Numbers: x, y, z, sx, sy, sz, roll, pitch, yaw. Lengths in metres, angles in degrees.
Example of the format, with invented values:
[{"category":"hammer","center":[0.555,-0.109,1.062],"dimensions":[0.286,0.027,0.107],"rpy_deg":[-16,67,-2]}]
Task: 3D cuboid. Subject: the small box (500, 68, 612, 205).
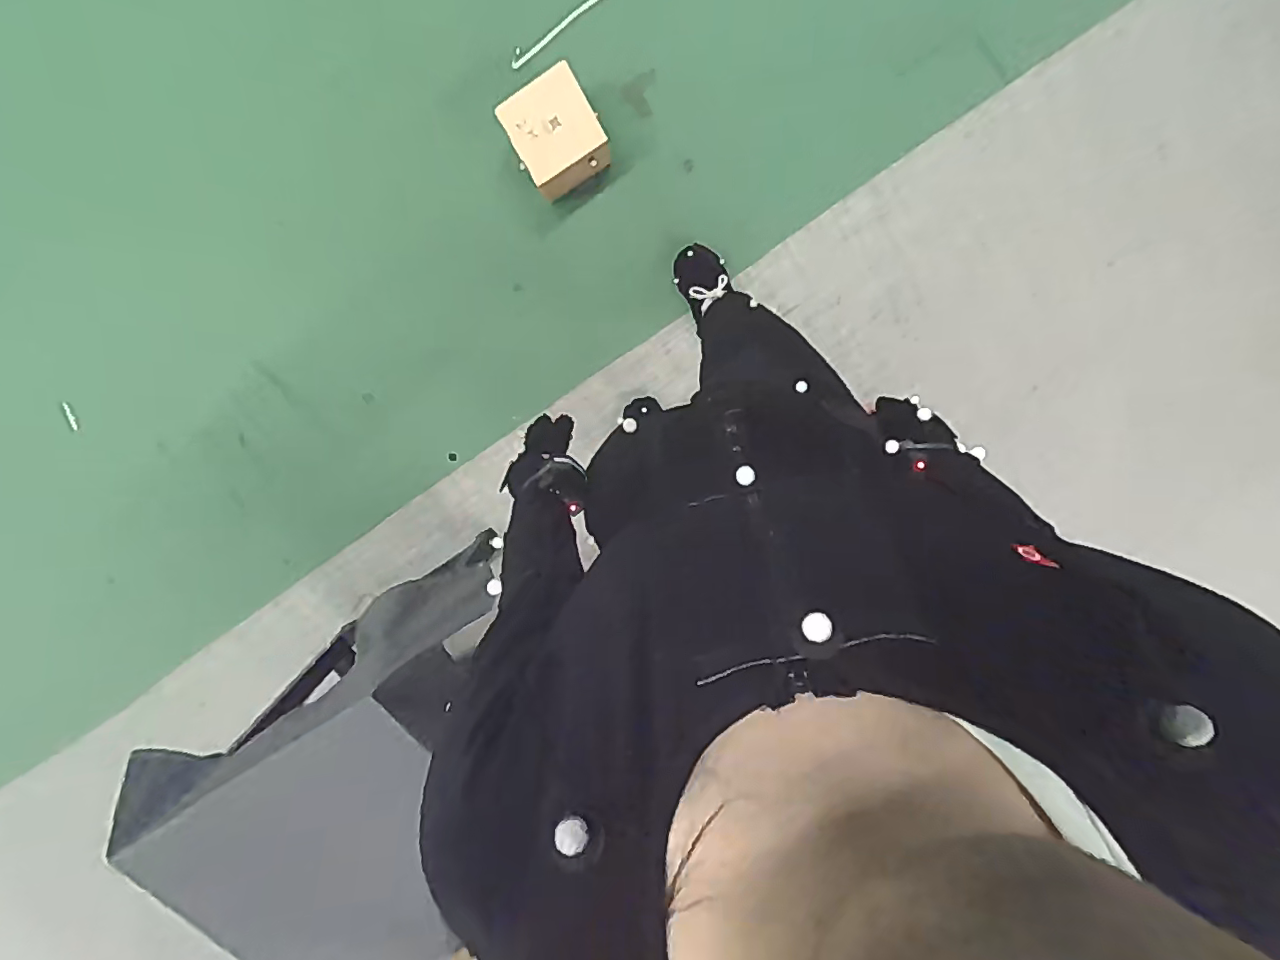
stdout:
[{"category":"small box","center":[-0.173,-0.737,1.182],"dimensions":[0.179,0.176,0.168],"rpy_deg":[-29,104,9]}]
